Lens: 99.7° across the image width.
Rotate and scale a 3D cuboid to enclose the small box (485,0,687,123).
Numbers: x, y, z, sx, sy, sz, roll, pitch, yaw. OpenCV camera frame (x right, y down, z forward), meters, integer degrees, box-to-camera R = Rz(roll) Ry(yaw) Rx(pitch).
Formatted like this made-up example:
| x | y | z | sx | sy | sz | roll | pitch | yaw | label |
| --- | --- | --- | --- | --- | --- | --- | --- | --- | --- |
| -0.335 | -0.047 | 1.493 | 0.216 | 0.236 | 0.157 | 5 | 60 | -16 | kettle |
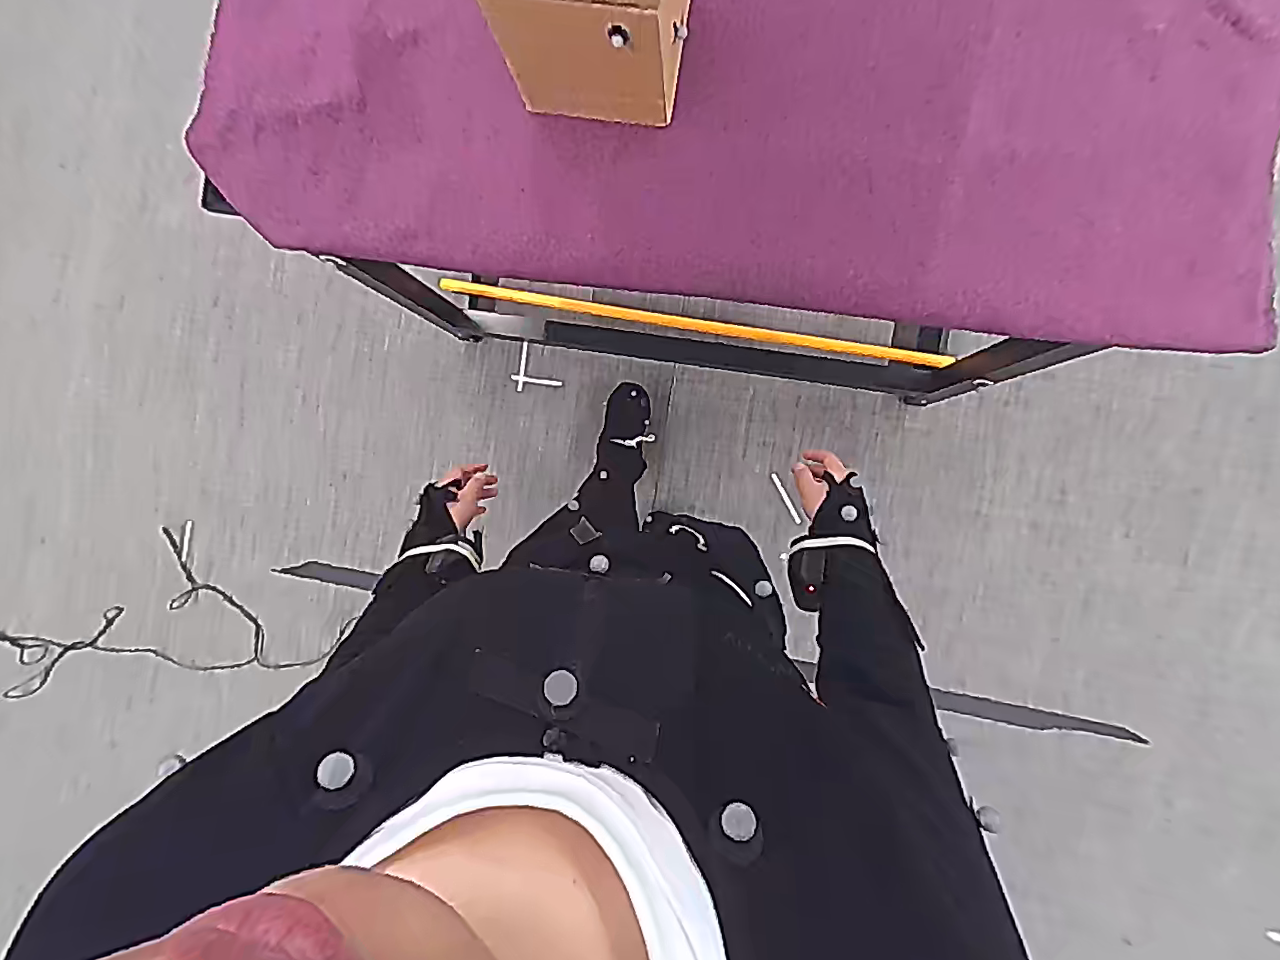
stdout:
| x | y | z | sx | sy | sz | roll | pitch | yaw | label |
| --- | --- | --- | --- | --- | --- | --- | --- | --- | --- |
| -0.048 | -0.510 | 0.564 | 0.179 | 0.176 | 0.168 | 10 | 91 | 4 | small box |
